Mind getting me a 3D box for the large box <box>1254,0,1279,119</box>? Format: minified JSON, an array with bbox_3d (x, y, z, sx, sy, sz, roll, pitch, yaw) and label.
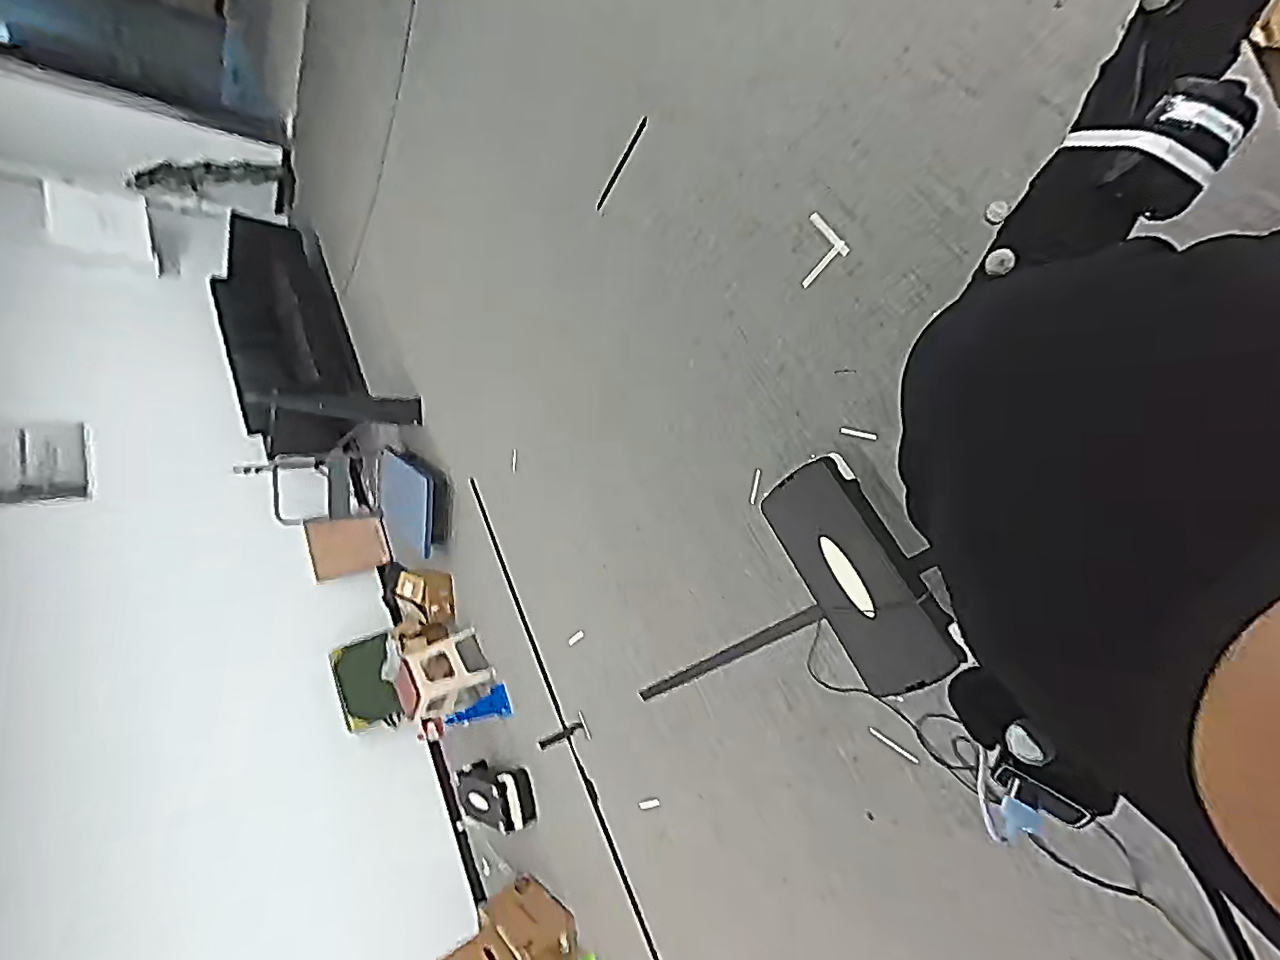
[{"bbox_3d":[0.622,-0.313,0.213,0.408,0.320,0.320,42,134,34],"label":"large box"}]
